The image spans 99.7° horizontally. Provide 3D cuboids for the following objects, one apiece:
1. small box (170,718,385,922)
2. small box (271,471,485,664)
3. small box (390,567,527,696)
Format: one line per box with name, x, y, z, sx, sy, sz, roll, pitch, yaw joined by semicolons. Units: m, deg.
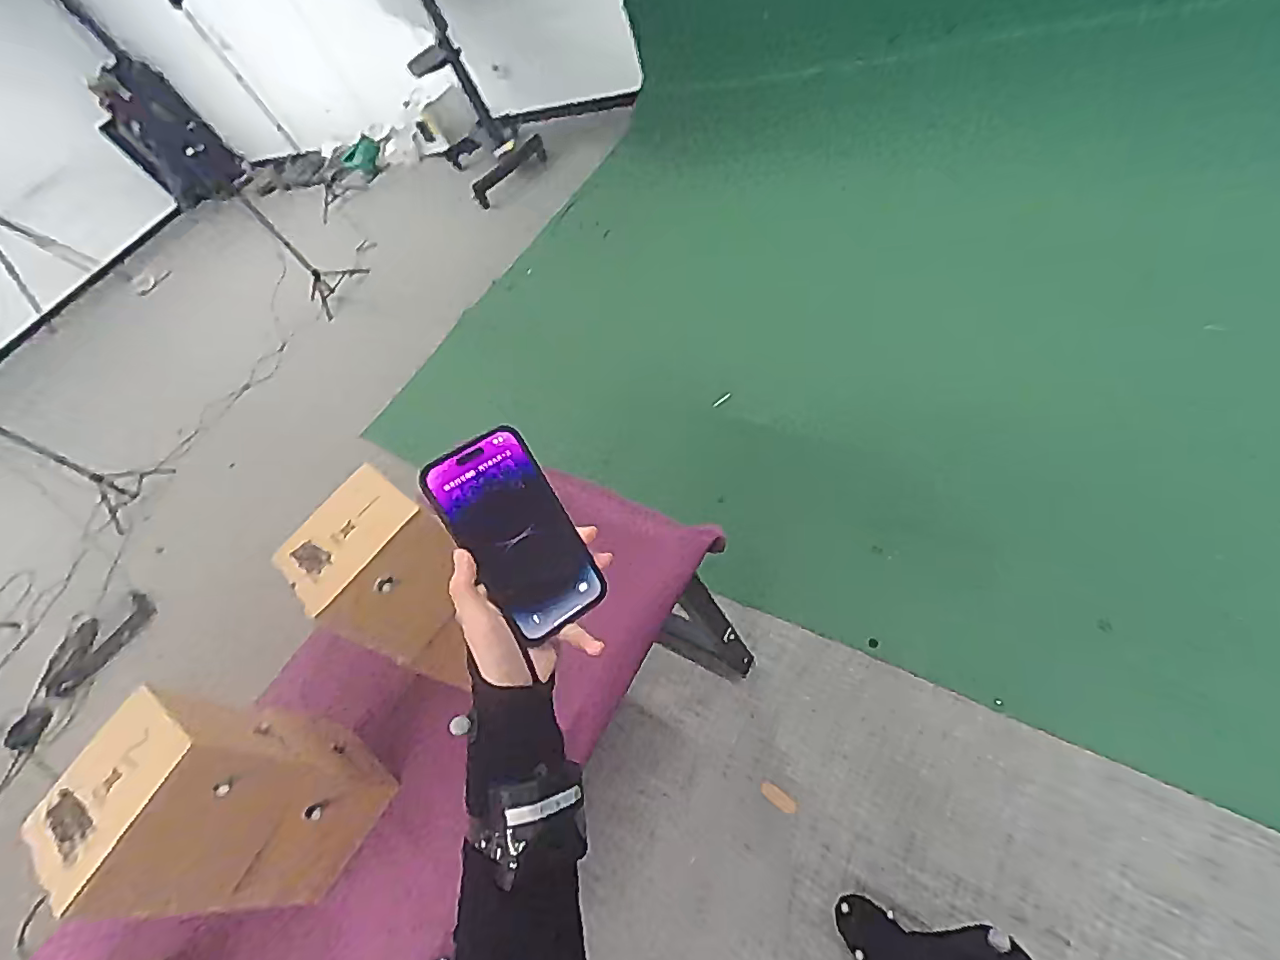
small box;-0.500;0.479;0.774;0.168;0.176;0.179;20;67;35
small box;-0.353;0.123;0.749;0.168;0.176;0.179;26;70;38
small box;-0.310;0.216;0.878;0.168;0.176;0.179;27;72;38
